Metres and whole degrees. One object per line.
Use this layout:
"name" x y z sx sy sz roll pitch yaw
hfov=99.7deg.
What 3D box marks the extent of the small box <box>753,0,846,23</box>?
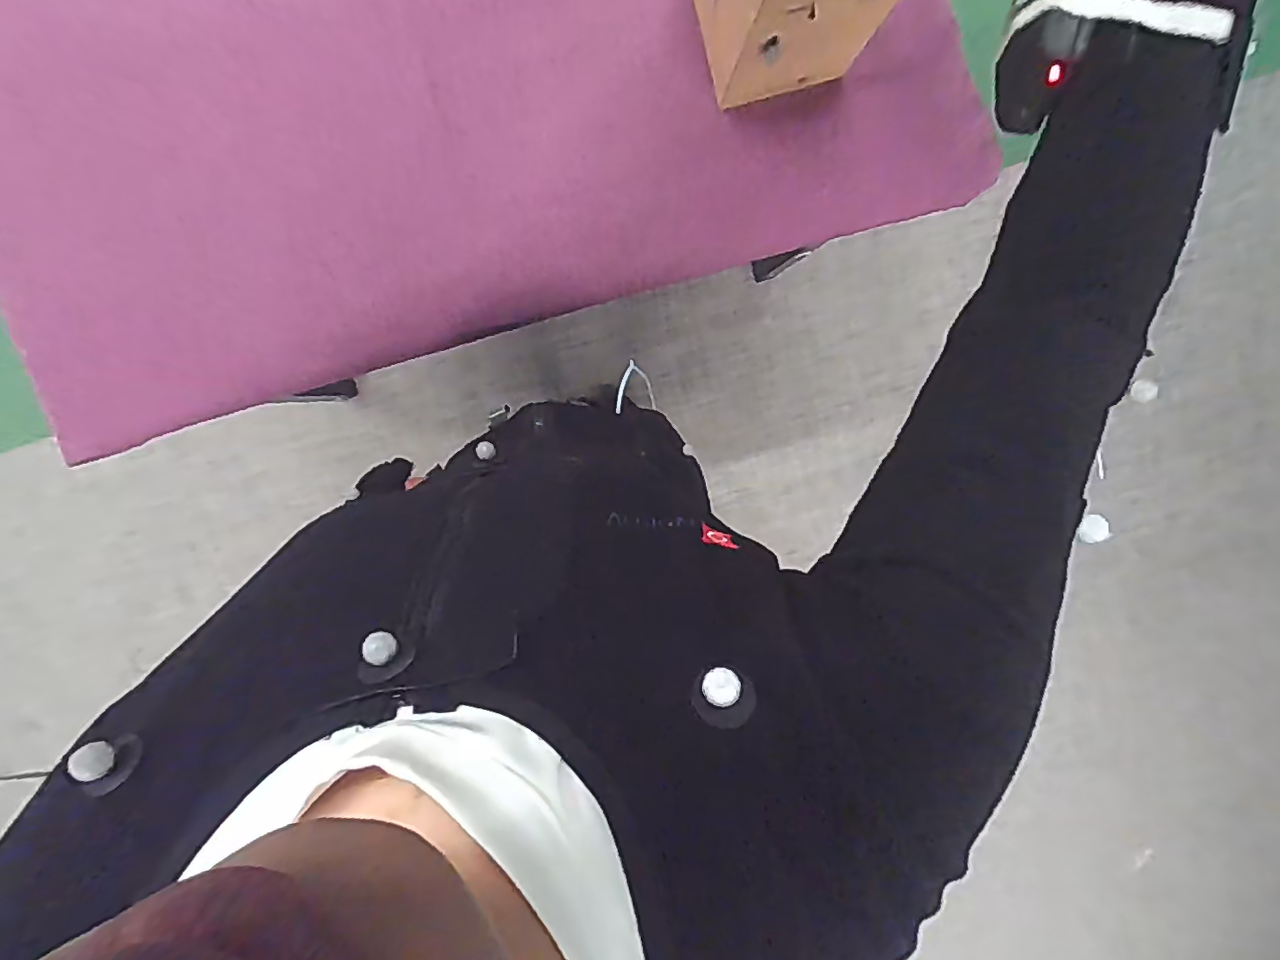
"small box" 0.169 -0.536 0.436 0.168 0.176 0.179 -19 99 -1
